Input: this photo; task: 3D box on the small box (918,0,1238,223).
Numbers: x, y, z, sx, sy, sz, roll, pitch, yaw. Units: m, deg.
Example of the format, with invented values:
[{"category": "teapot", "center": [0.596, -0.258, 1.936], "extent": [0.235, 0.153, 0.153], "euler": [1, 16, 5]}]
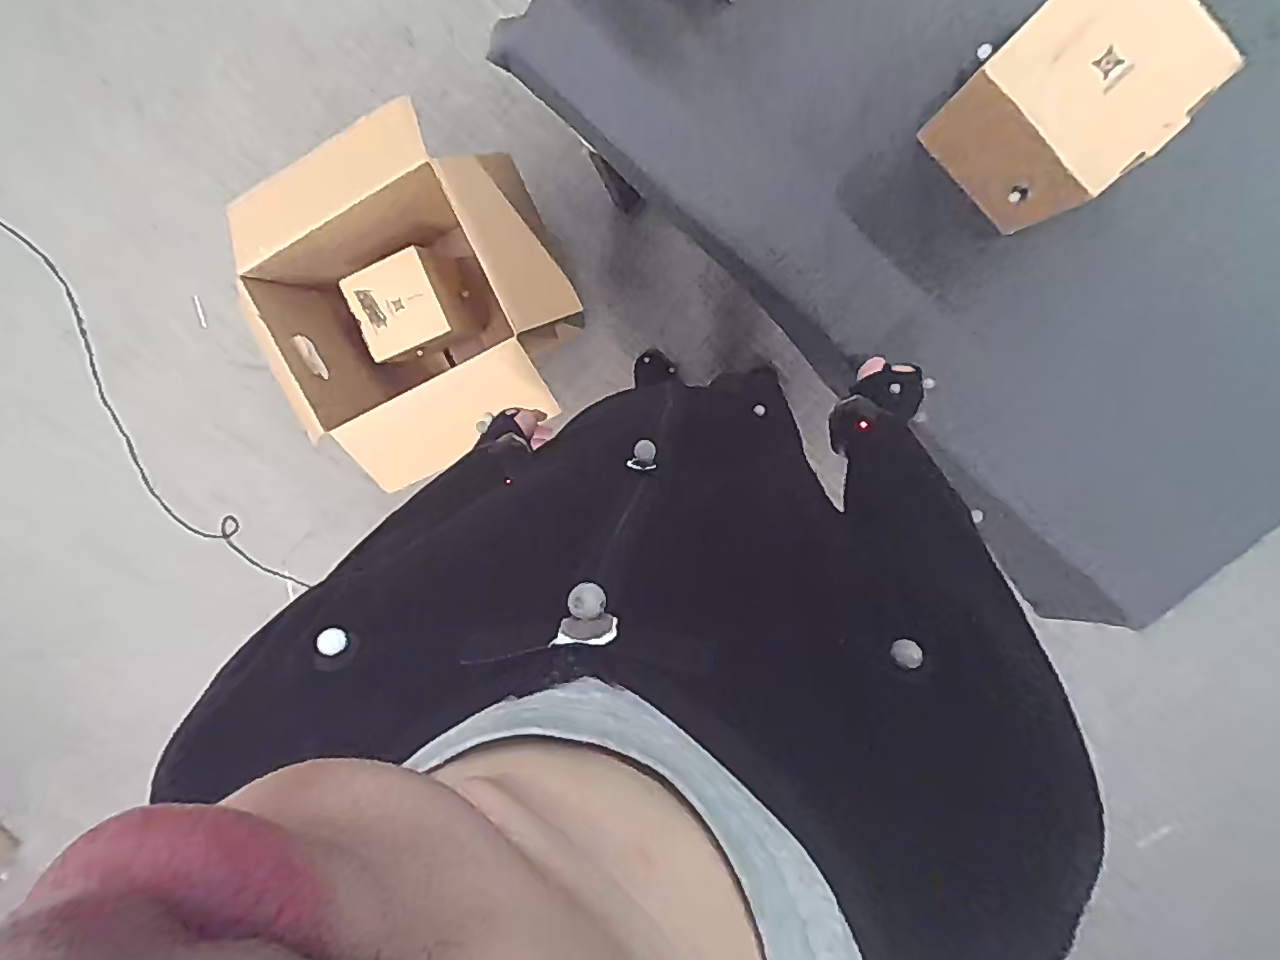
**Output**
[{"category": "small box", "center": [0.453, -0.412, 0.594], "extent": [0.179, 0.176, 0.168], "euler": [45, 102, -4]}]
